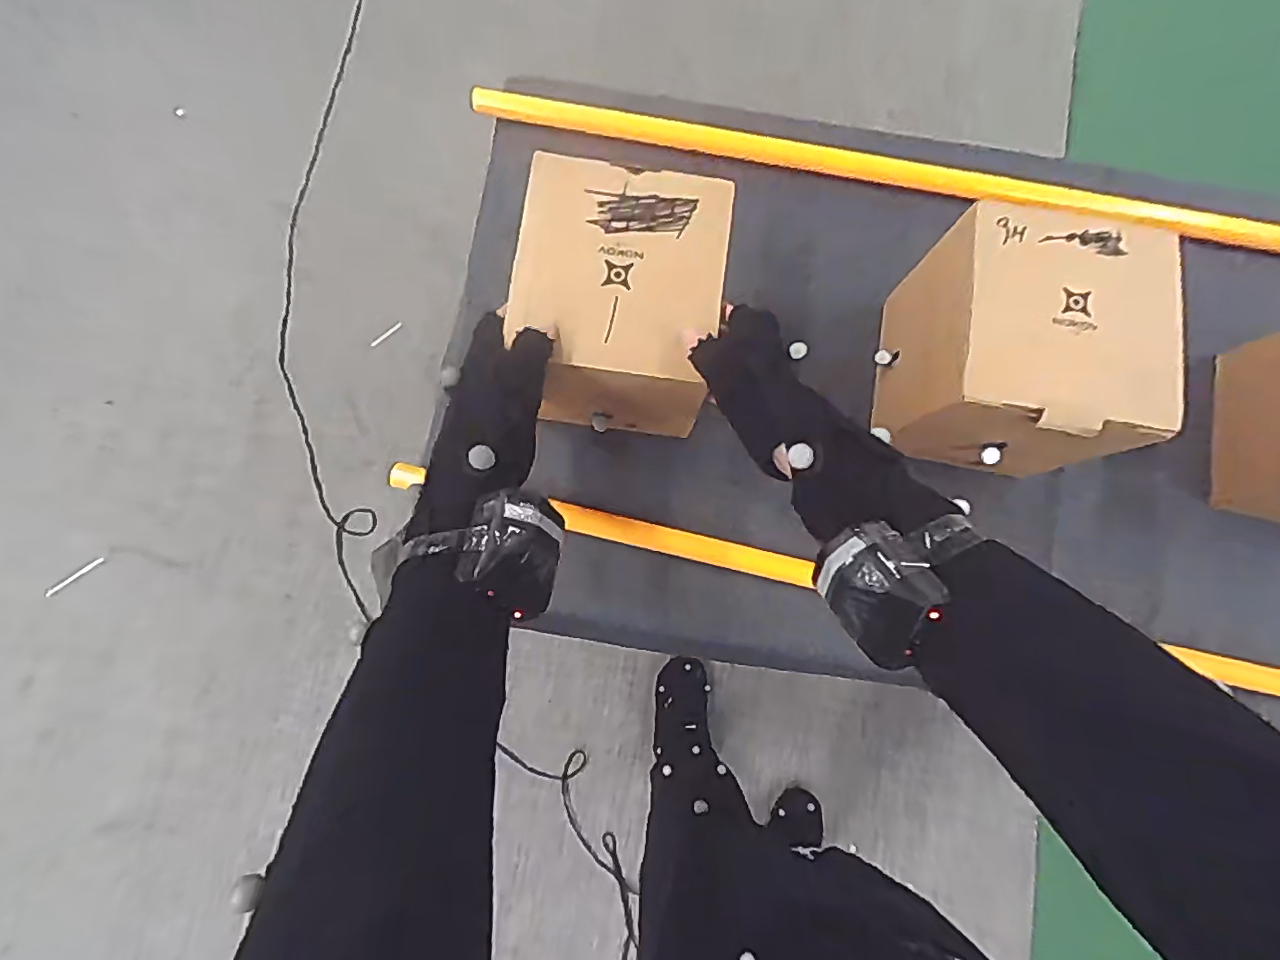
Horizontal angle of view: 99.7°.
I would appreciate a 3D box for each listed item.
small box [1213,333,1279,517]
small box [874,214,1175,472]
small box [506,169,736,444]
[{"bbox_3d":[0.689,-0.051,0.495,0.168,0.176,0.179,13,78,1],"label":"small box"},{"bbox_3d":[0.335,-0.112,0.506,0.168,0.176,0.179,7,78,2],"label":"small box"},{"bbox_3d":[-0.015,-0.146,0.505,0.168,0.176,0.179,7,80,0],"label":"small box"}]
